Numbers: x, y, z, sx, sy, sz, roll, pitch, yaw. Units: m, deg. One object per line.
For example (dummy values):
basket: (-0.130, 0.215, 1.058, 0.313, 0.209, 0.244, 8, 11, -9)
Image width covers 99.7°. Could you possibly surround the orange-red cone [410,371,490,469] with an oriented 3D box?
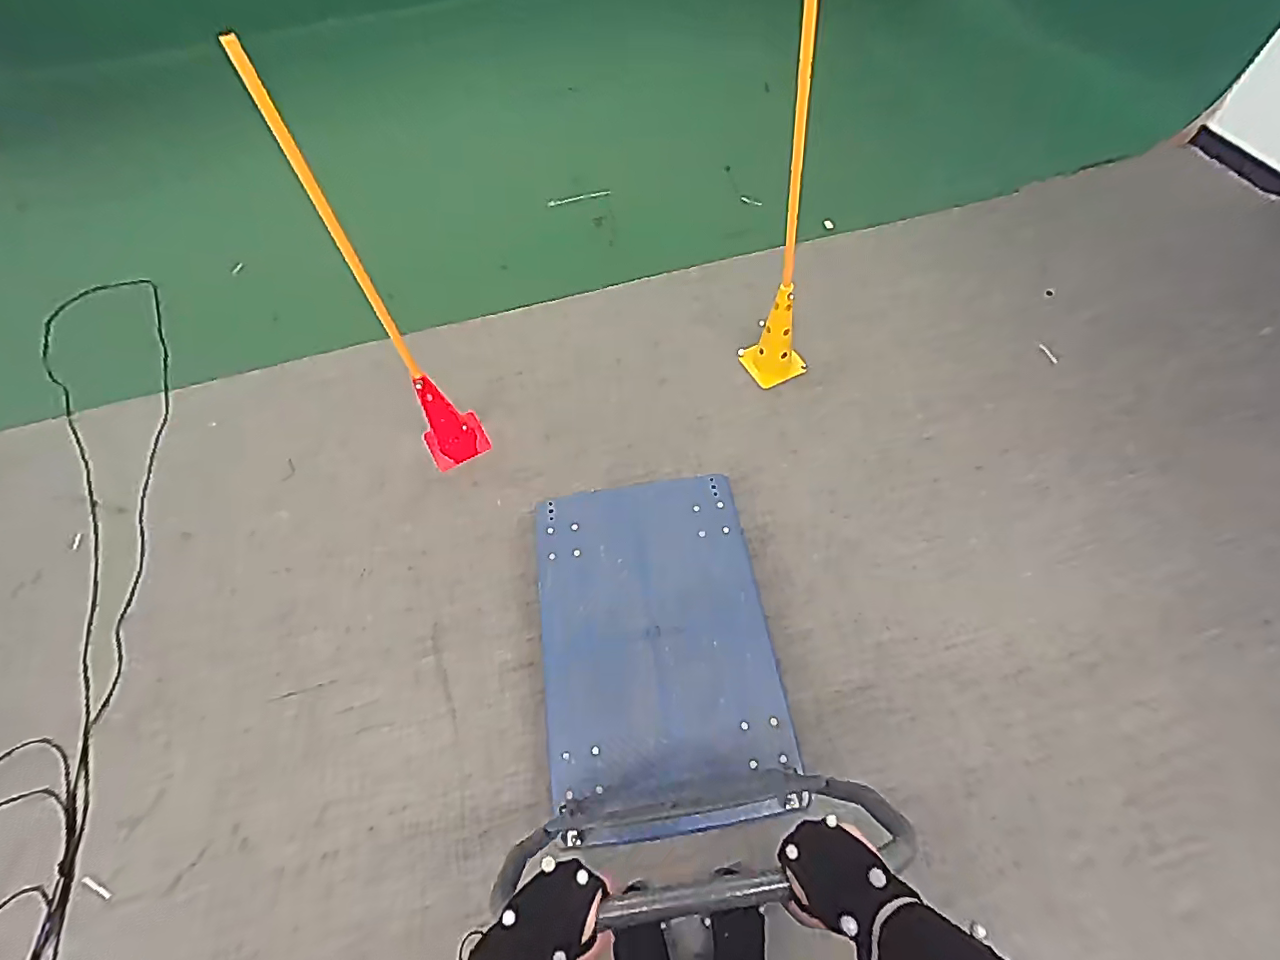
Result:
orange-red cone: (-0.662, -0.225, 1.775, 0.199, 0.360, 0.198, -29, 62, -10)
